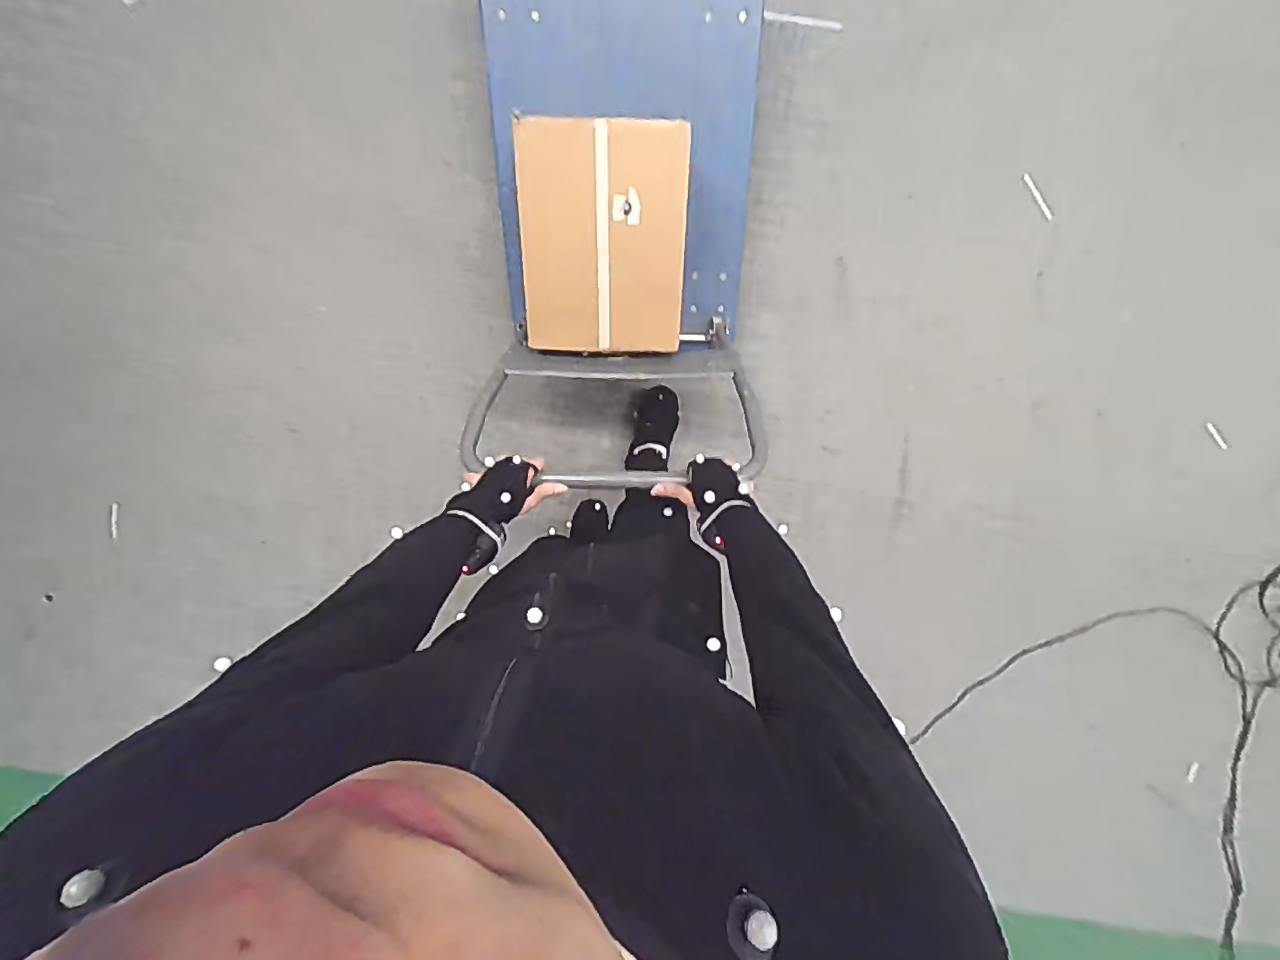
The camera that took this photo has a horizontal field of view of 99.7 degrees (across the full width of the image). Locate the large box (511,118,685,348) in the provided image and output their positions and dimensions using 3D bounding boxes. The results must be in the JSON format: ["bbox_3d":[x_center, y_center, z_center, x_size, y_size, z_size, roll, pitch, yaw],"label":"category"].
[{"bbox_3d":[-0.072,-0.518,1.163,0.320,0.320,0.408,1,117,-1],"label":"large box"}]
